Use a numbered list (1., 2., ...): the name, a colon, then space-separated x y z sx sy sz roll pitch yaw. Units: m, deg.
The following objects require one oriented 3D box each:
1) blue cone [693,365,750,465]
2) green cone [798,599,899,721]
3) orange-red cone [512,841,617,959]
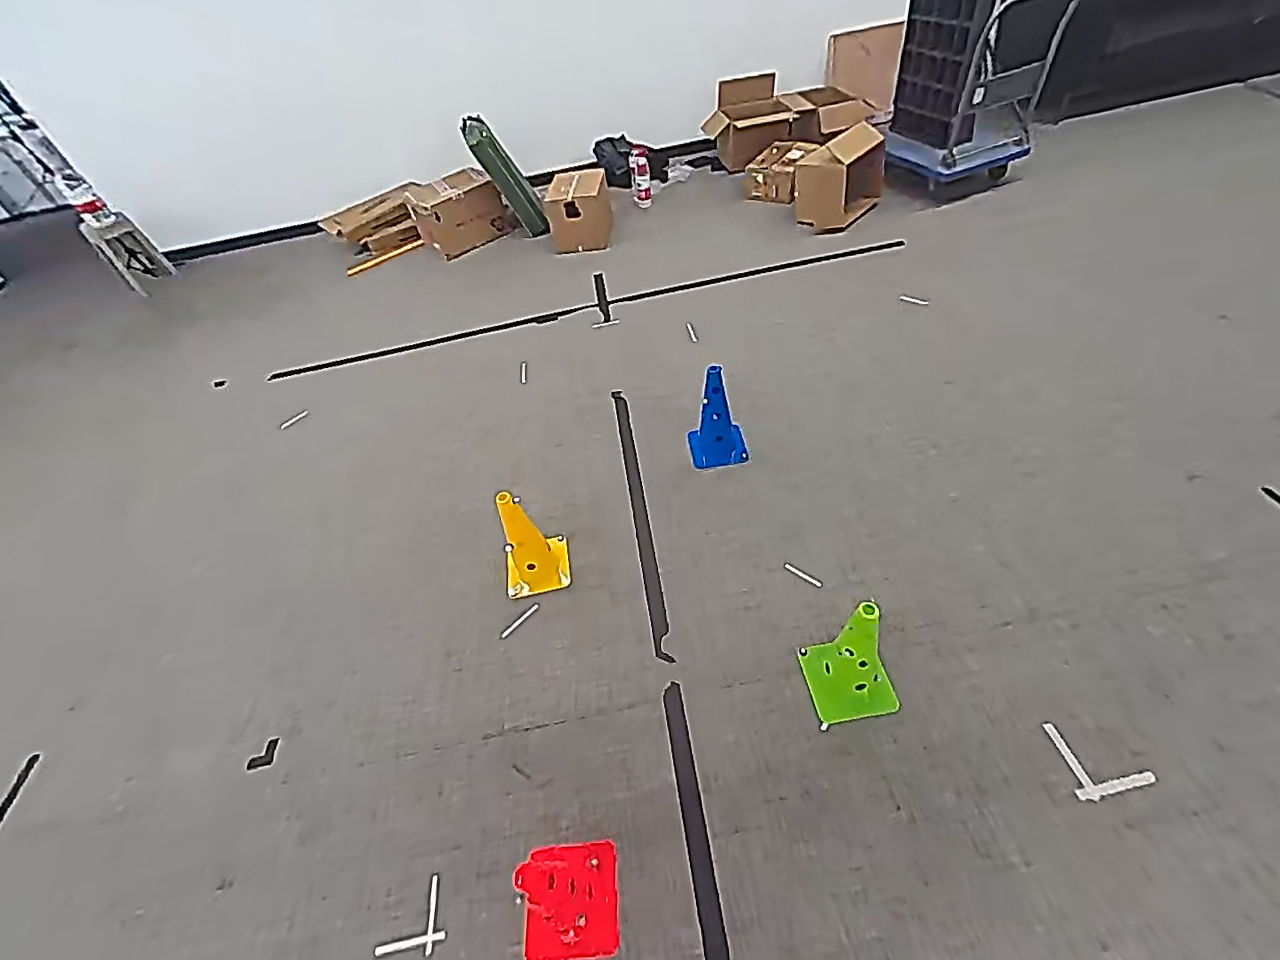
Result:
1. blue cone: 0.277 -0.237 1.888 0.192 0.380 0.193 -8 48 2
2. green cone: 0.507 0.389 1.255 0.202 0.368 0.200 -10 47 0
3. orange-red cone: -0.174 0.777 1.036 0.199 0.360 0.198 -9 46 4
